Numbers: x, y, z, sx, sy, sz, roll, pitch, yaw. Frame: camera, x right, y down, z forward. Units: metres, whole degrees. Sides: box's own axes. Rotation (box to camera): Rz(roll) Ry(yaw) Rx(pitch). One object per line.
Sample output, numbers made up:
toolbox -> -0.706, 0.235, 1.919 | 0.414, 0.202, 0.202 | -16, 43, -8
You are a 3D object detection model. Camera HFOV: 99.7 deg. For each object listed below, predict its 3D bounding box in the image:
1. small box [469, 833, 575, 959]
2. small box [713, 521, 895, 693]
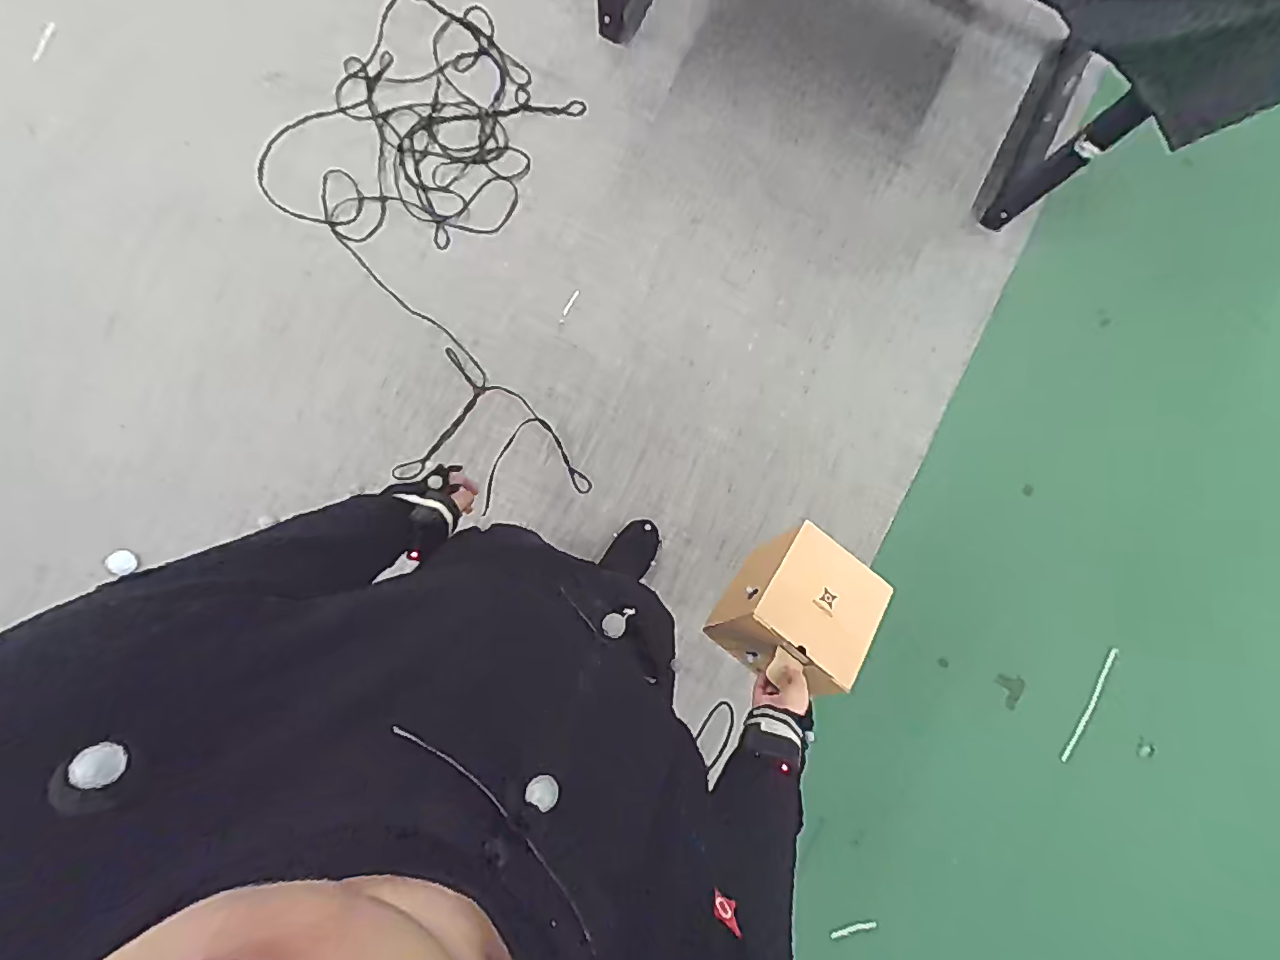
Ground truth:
small box -> -0.266, 0.965, 1.256 | 0.168, 0.176, 0.179 | -27, 90, -1
small box -> 0.235, 0.195, 0.809 | 0.168, 0.176, 0.179 | 38, 63, 0
